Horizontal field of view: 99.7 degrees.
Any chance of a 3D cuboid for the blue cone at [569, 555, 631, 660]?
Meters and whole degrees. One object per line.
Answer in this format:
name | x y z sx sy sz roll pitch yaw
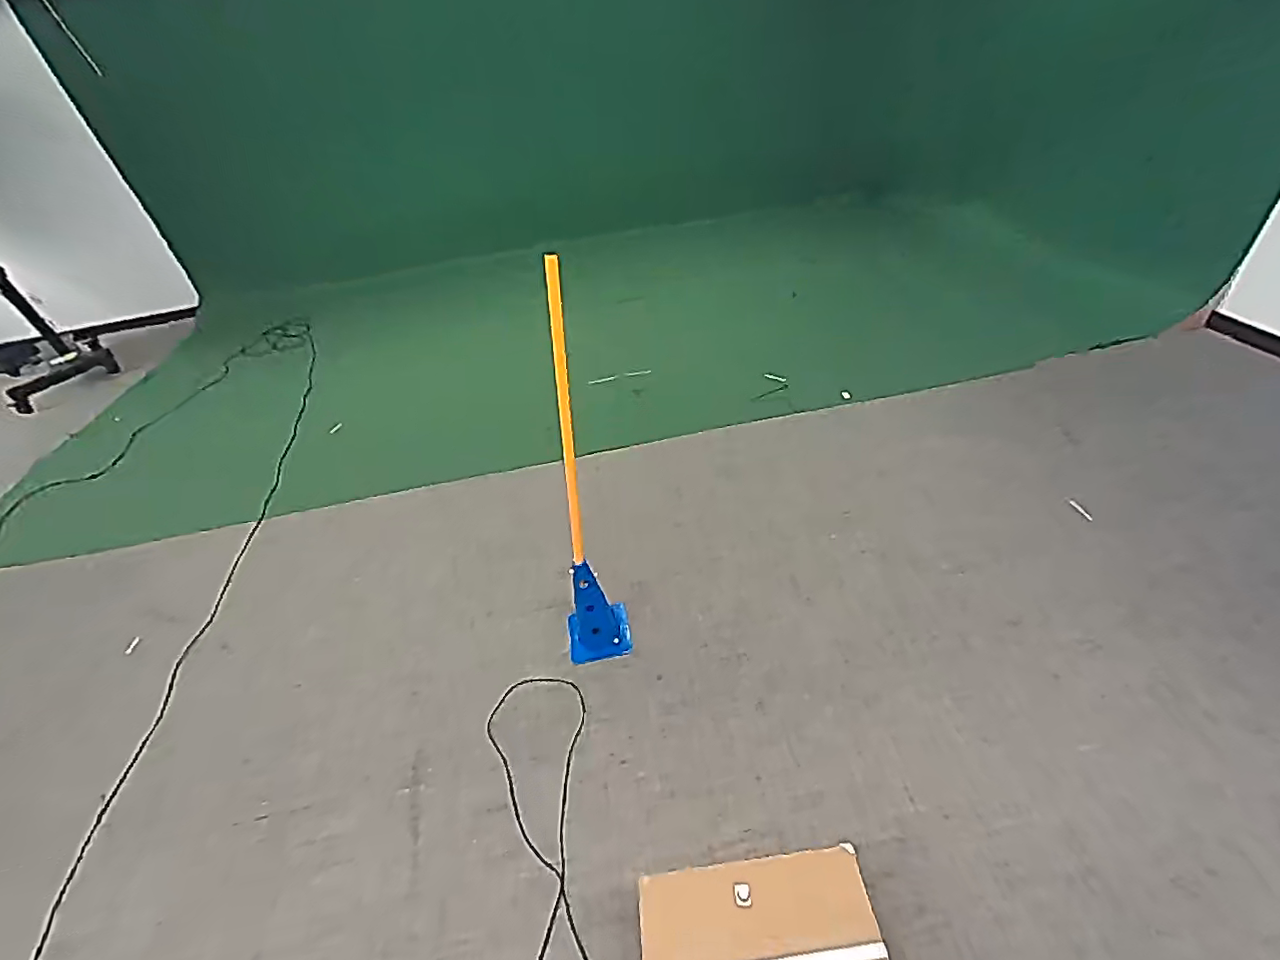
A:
blue cone | -0.150 0.361 1.653 0.193 0.380 0.192 -12 40 -6
